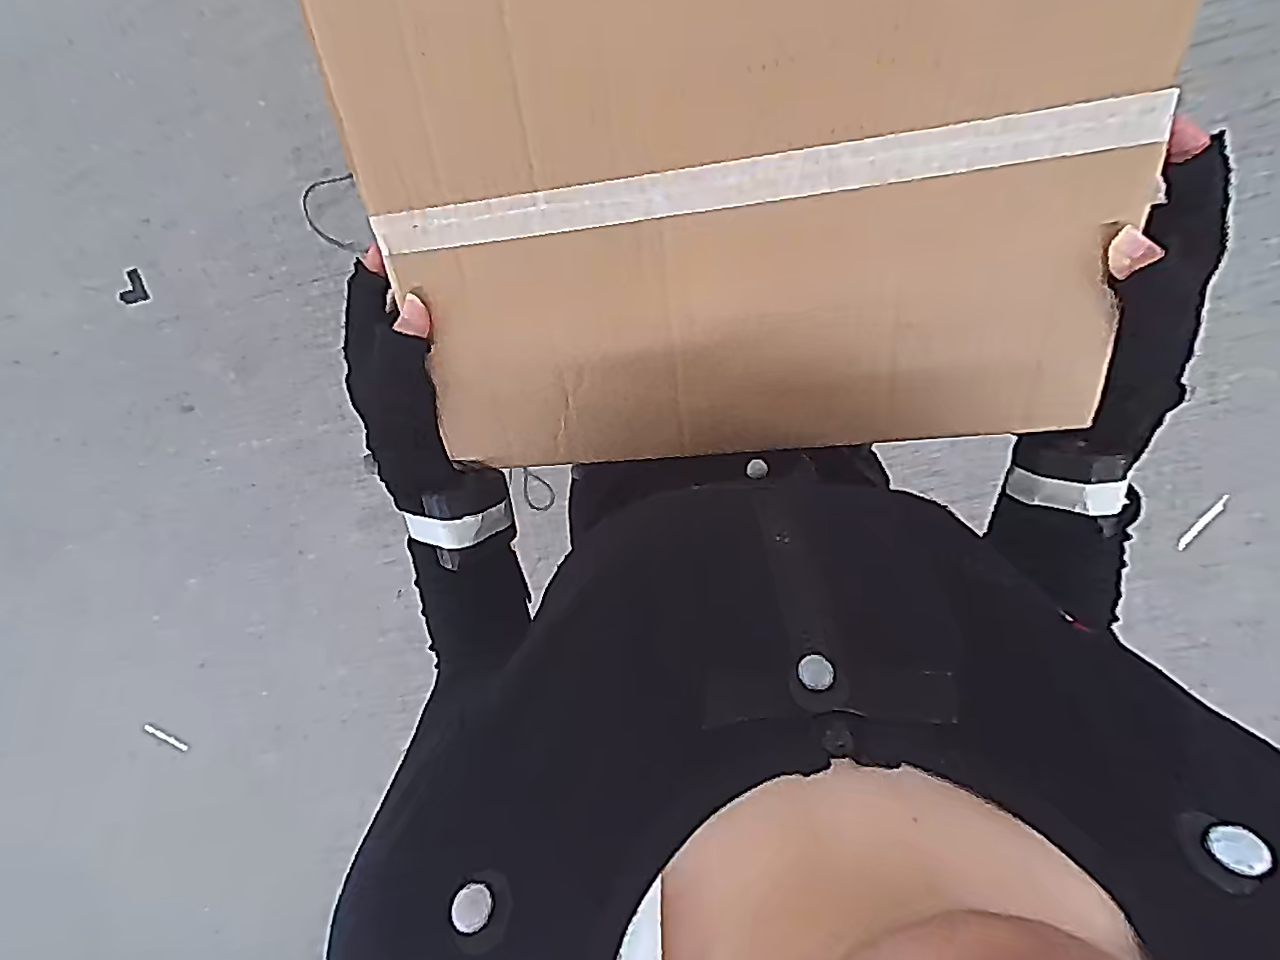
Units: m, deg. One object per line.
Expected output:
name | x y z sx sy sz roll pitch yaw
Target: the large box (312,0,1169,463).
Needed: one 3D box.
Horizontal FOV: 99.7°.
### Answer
large box | 0.062 -0.233 0.421 0.408 0.320 0.320 -4 117 9
